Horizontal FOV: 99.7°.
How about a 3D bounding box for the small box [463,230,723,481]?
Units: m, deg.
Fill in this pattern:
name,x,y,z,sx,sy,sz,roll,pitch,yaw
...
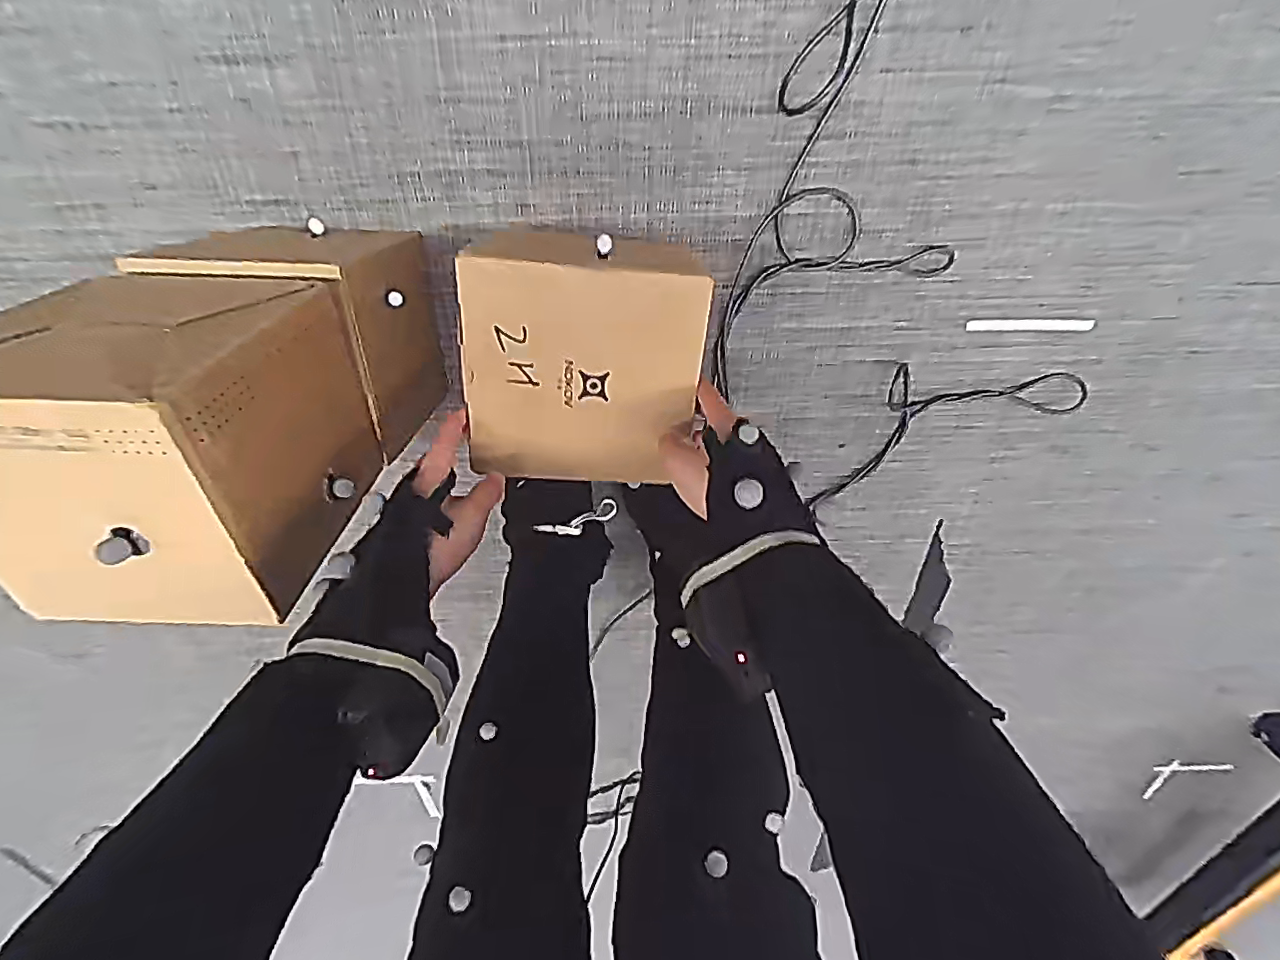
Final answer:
name,x,y,z,sx,sy,sz,roll,pitch,yaw
small box,-0.043,-0.114,0.464,0.179,0.176,0.168,3,119,-6
